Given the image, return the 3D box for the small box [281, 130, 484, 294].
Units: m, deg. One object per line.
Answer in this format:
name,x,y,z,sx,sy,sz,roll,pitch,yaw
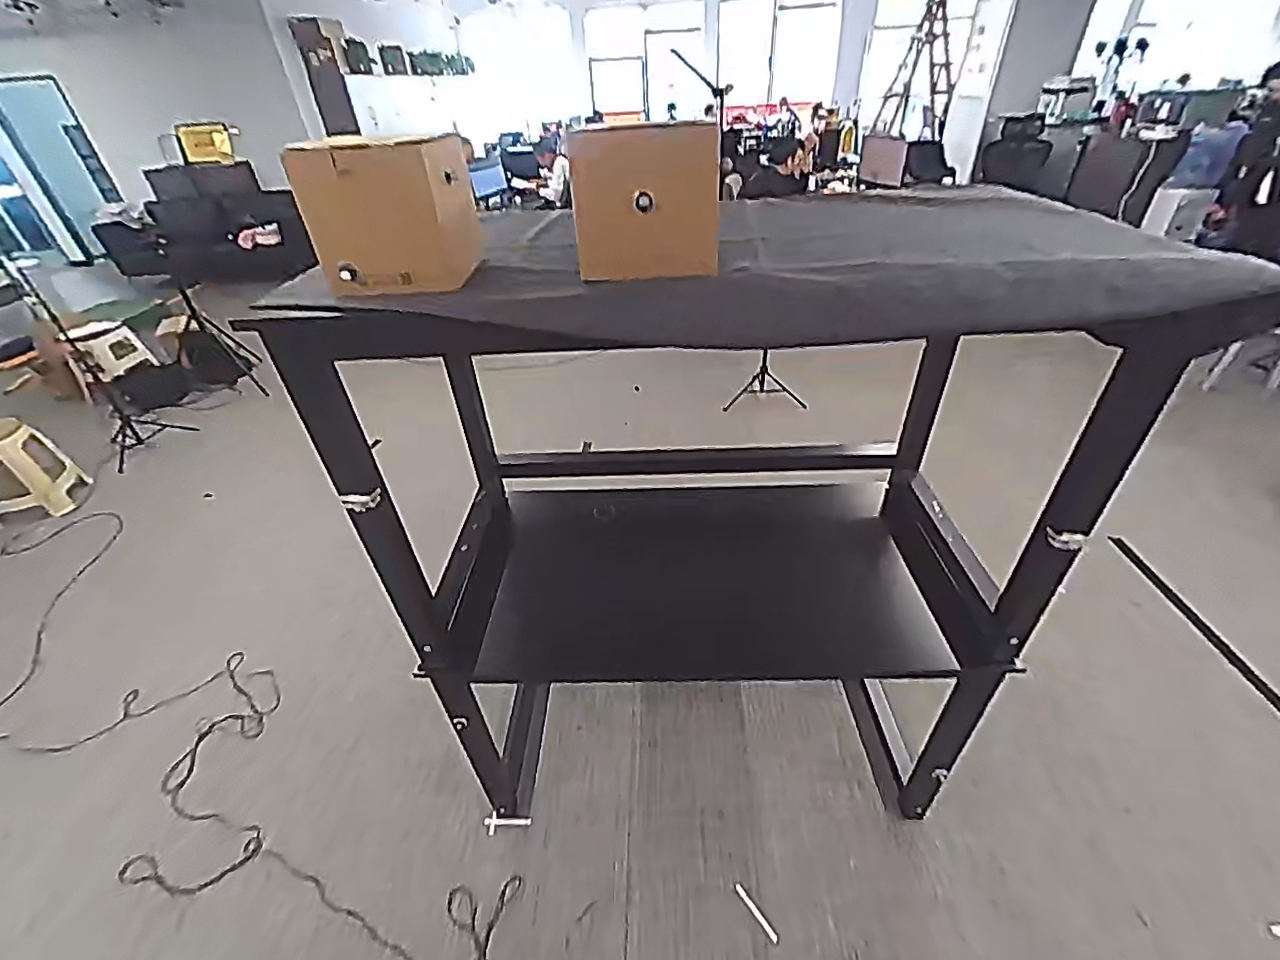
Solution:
small box,-0.319,-0.353,0.718,0.168,0.176,0.179,-2,36,1
